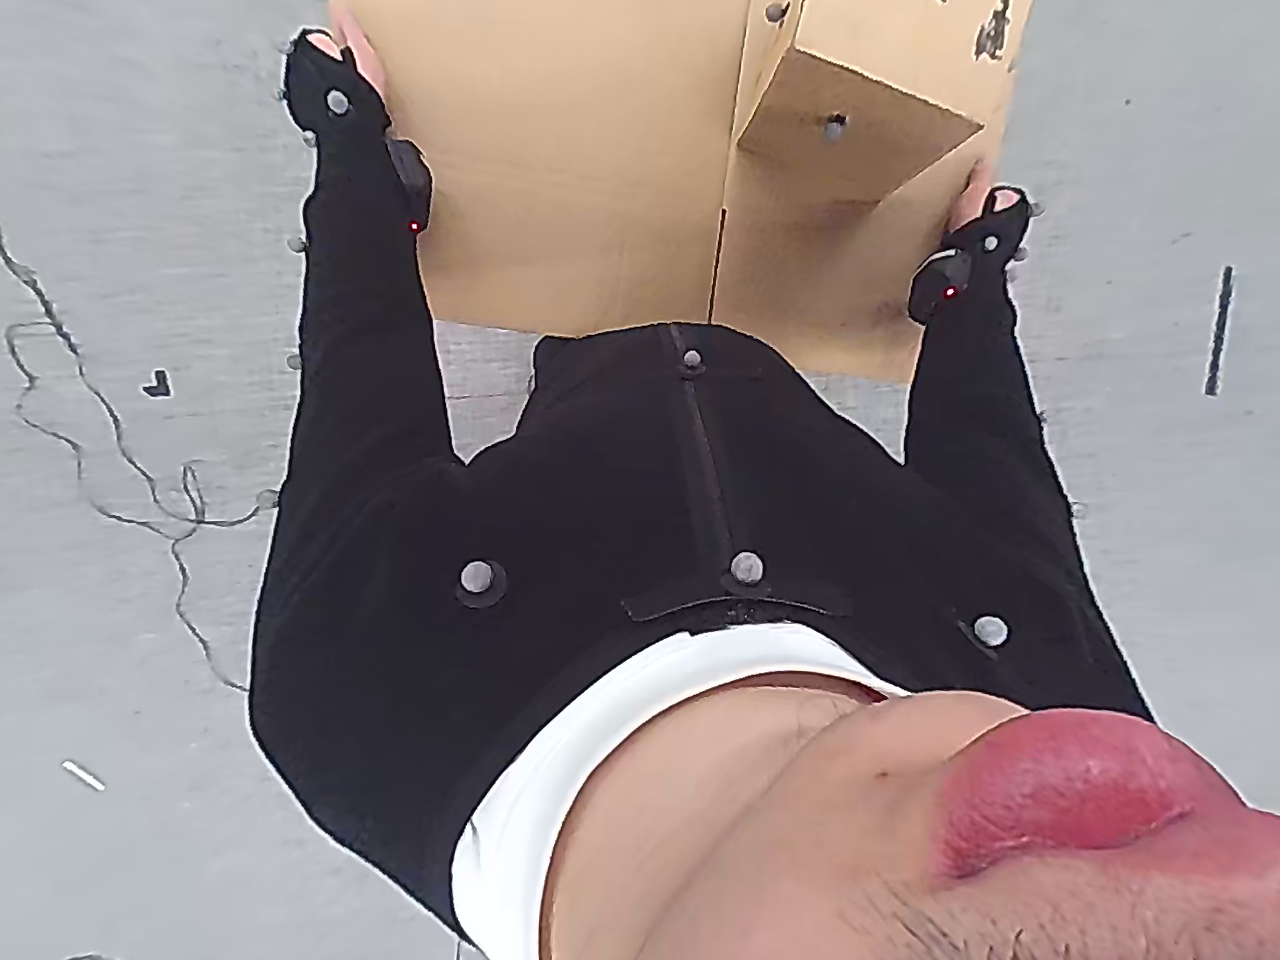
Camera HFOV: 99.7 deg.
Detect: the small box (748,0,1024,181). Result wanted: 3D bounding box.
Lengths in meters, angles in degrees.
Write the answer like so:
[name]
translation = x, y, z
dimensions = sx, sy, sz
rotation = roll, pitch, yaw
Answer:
[small box]
translation = 0.216, -0.409, 0.499
dimensions = 0.179, 0.176, 0.168
rotation = 16, 99, -5
